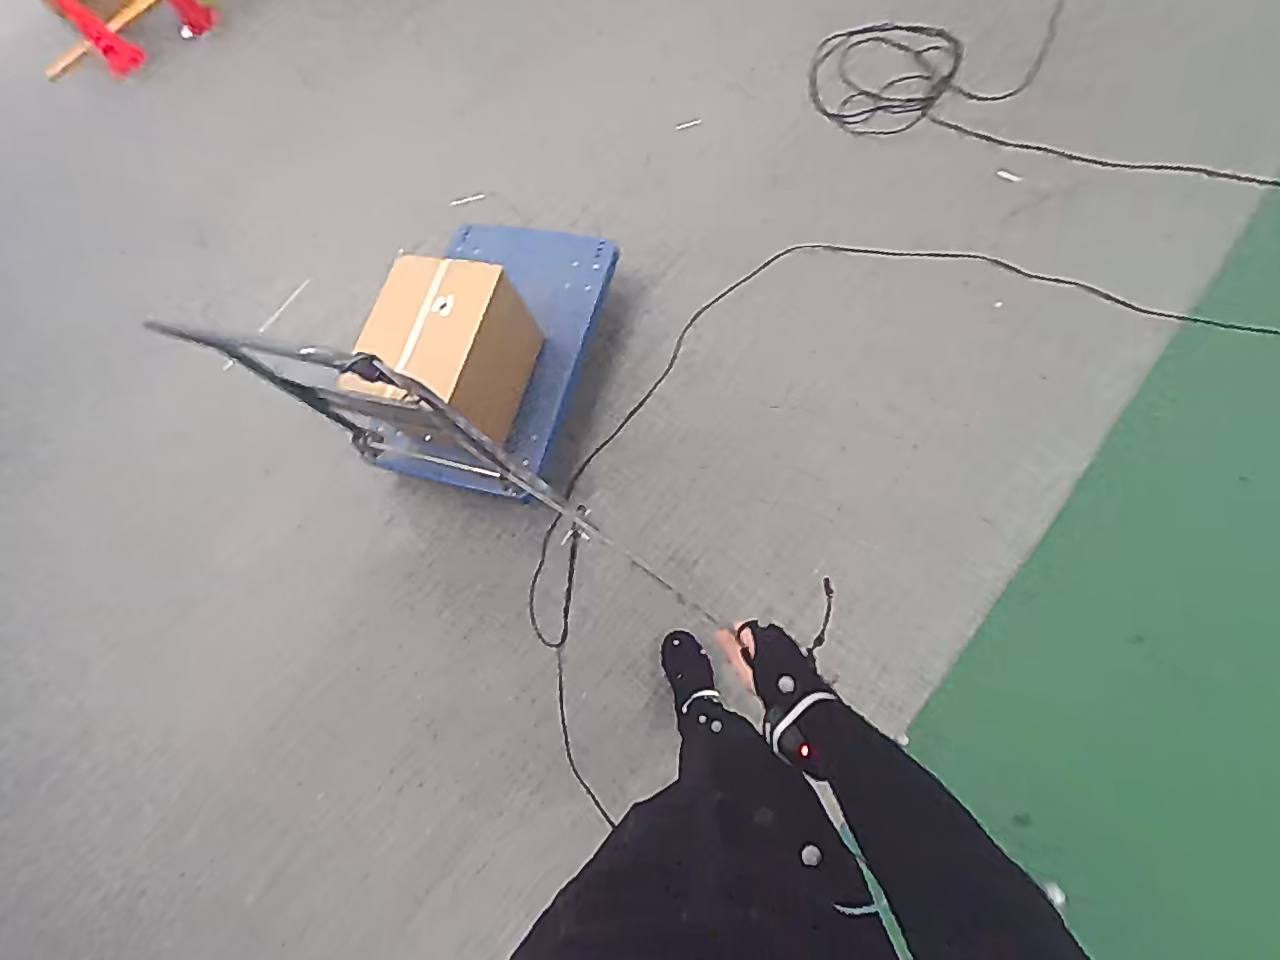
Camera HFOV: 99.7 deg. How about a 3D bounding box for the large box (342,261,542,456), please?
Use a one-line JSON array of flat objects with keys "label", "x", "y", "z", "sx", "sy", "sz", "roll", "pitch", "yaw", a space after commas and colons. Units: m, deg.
[{"label": "large box", "x": -0.508, "y": -0.318, "z": 1.466, "sx": 0.320, "sy": 0.320, "sz": 0.408, "roll": 12, "pitch": 73, "yaw": 14}]
